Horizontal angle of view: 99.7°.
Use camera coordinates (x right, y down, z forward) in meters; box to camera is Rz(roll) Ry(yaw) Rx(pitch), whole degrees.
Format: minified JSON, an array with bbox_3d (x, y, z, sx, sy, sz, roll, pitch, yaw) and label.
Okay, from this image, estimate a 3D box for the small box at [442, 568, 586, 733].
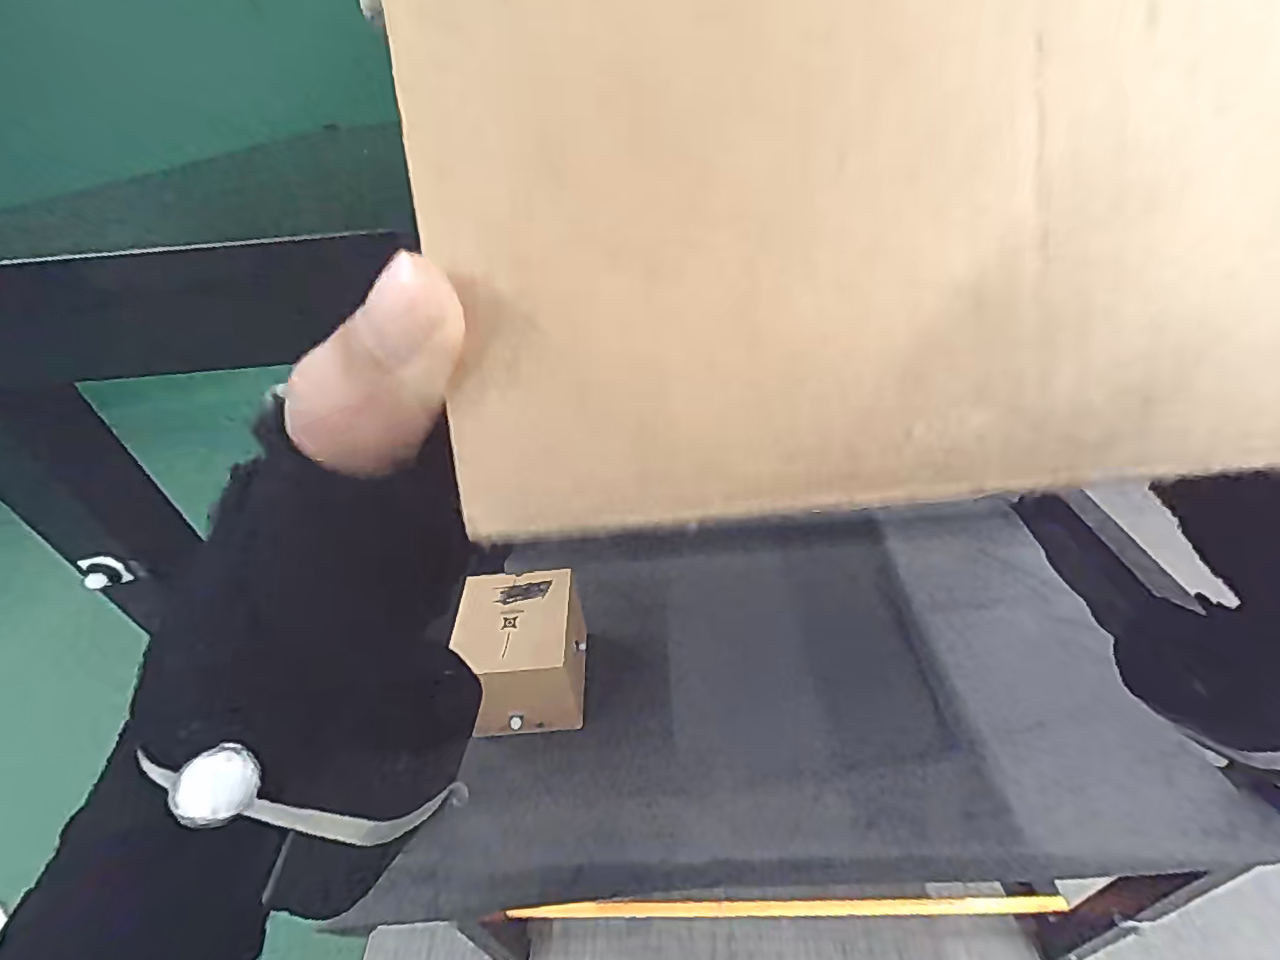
[{"bbox_3d":[-0.178,0.259,0.826,0.168,0.176,0.179,-5,39,2],"label":"small box"}]
